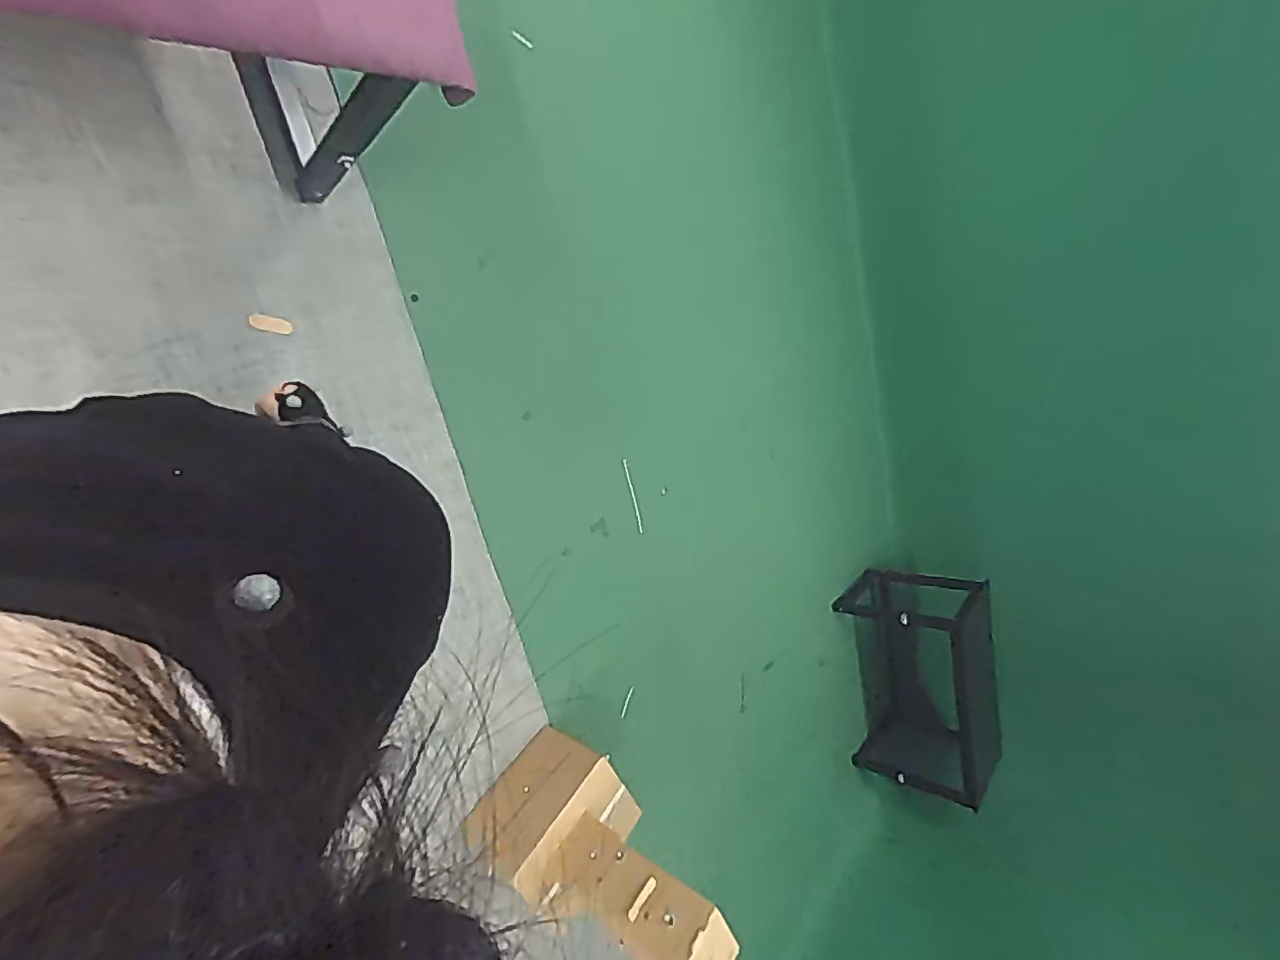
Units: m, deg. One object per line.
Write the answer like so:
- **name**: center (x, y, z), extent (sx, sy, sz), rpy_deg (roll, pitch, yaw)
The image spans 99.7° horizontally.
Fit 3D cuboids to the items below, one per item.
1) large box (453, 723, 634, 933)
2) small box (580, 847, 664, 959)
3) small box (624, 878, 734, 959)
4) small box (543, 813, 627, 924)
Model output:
- **large box**: center (-0.298, 1.072, 1.714), extent (0.408, 0.320, 0.320), rpy_deg (-44, 121, -37)
- **small box**: center (-0.029, 1.101, 1.405), extent (0.168, 0.176, 0.179), rpy_deg (-37, 115, -38)
- **small box**: center (0.090, 1.102, 1.292), extent (0.168, 0.176, 0.179), rpy_deg (-39, 115, -37)
- **small box**: center (-0.140, 1.091, 1.525), extent (0.179, 0.176, 0.168), rpy_deg (-39, 116, -37)
